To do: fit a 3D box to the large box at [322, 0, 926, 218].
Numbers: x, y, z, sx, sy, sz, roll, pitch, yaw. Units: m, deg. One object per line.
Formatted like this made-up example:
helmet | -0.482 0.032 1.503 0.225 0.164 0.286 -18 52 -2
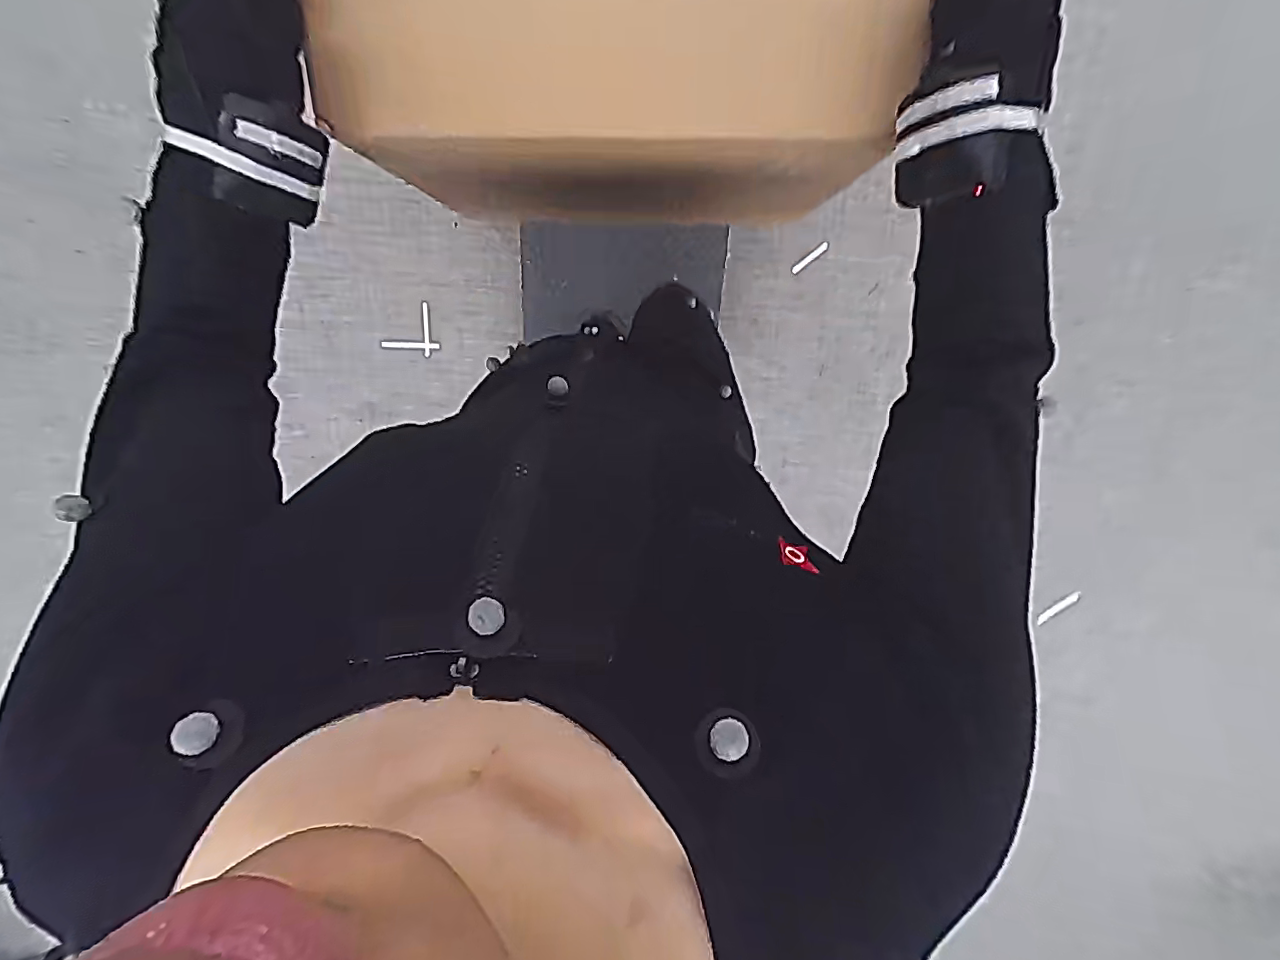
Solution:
large box | -0.011 -0.432 0.476 0.408 0.320 0.320 0 106 0
